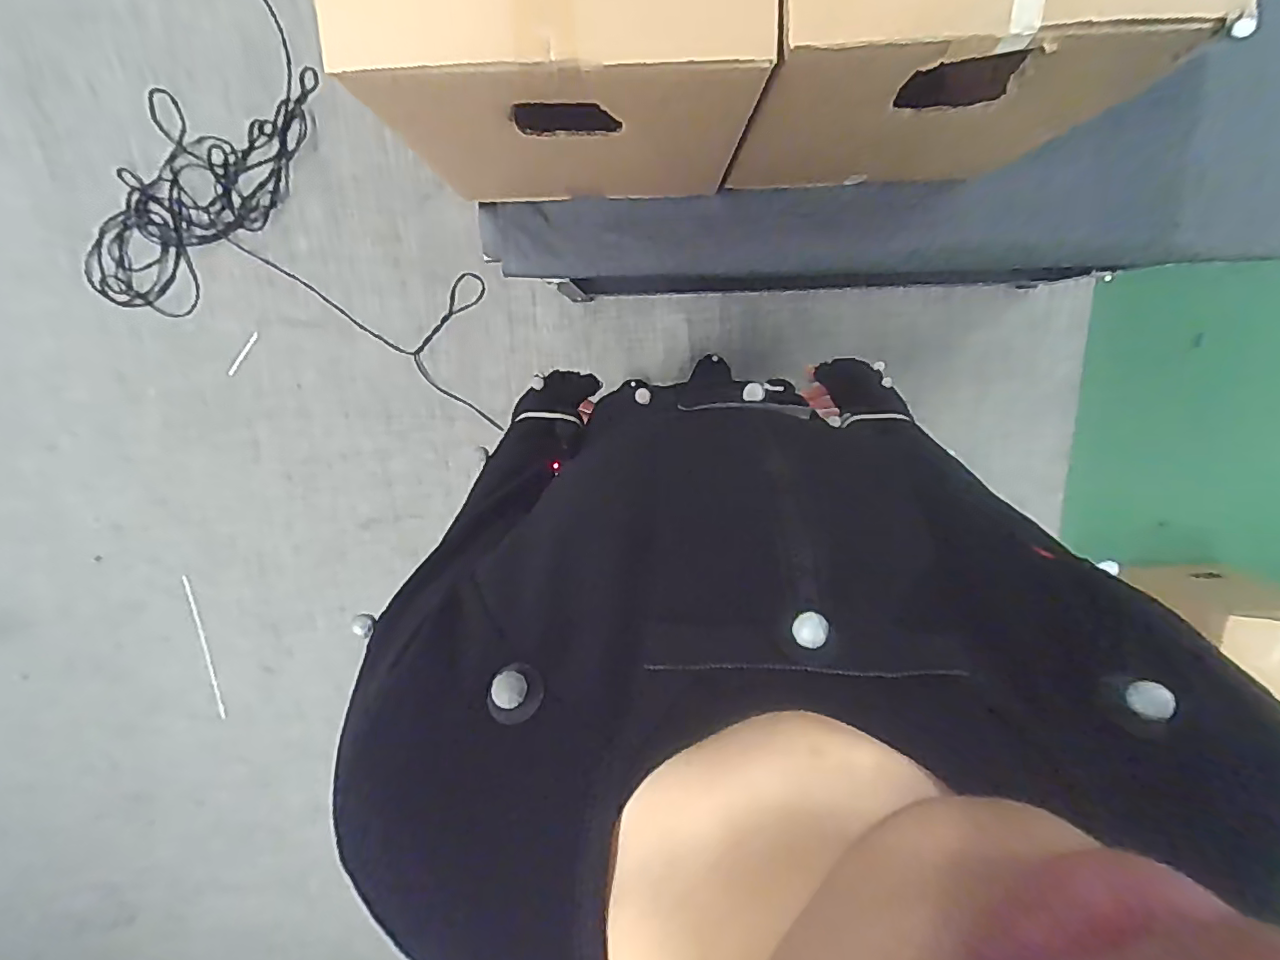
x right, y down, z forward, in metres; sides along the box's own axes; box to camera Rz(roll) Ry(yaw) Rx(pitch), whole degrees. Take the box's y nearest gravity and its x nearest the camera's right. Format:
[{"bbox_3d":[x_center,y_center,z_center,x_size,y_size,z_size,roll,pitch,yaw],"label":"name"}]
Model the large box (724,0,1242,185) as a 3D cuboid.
[{"bbox_3d":[0.245,-0.527,0.472,0.320,0.320,0.408,-2,103,2],"label":"large box"}]
